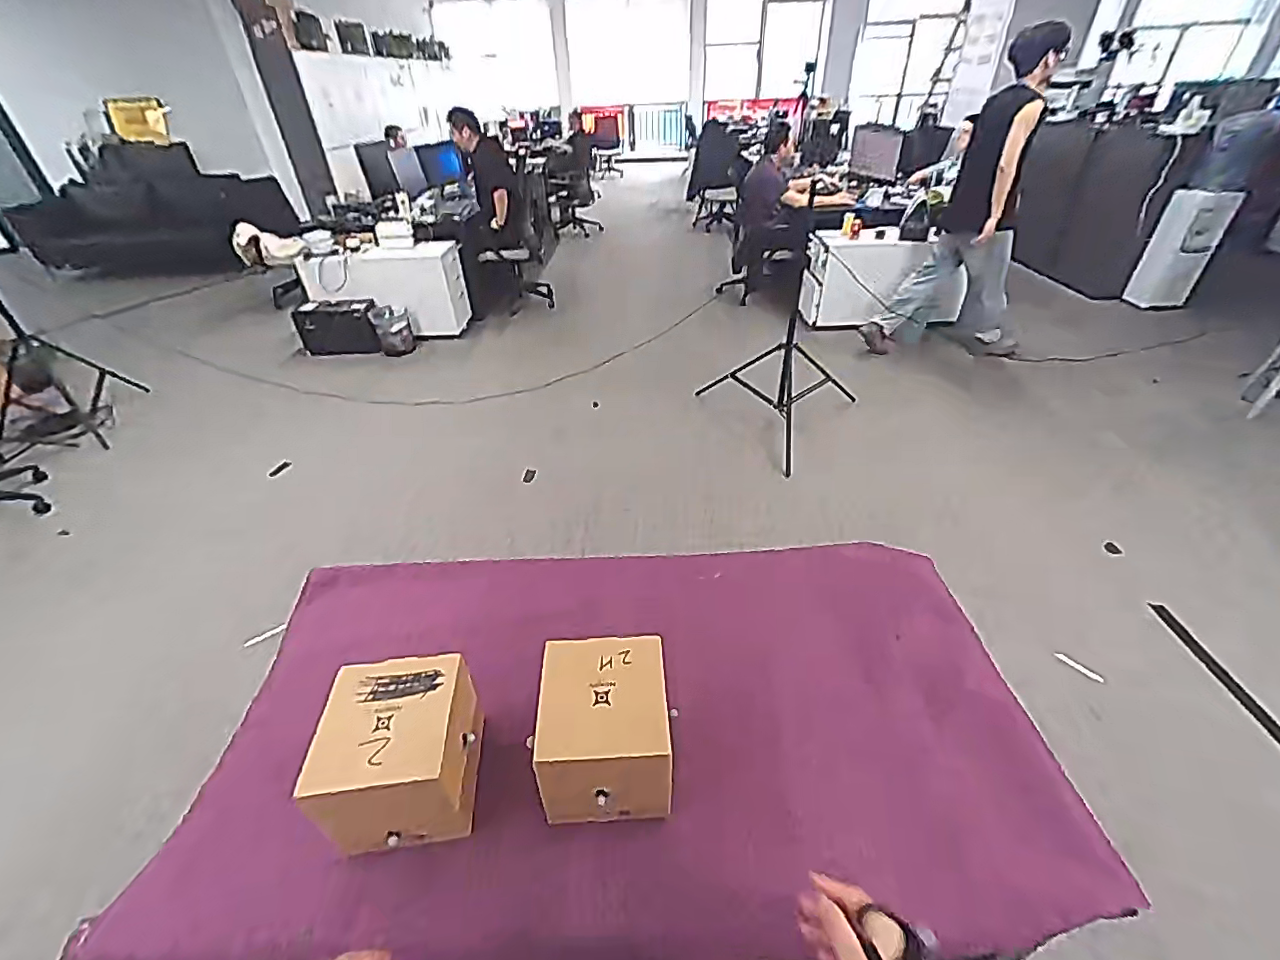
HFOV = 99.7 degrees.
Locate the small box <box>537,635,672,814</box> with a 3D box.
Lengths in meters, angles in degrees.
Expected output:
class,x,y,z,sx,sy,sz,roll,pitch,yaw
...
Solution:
class,x,y,z,sx,sy,sz,roll,pitch,yaw
small box,-0.043,0.342,0.754,0.168,0.176,0.179,-2,35,-2
